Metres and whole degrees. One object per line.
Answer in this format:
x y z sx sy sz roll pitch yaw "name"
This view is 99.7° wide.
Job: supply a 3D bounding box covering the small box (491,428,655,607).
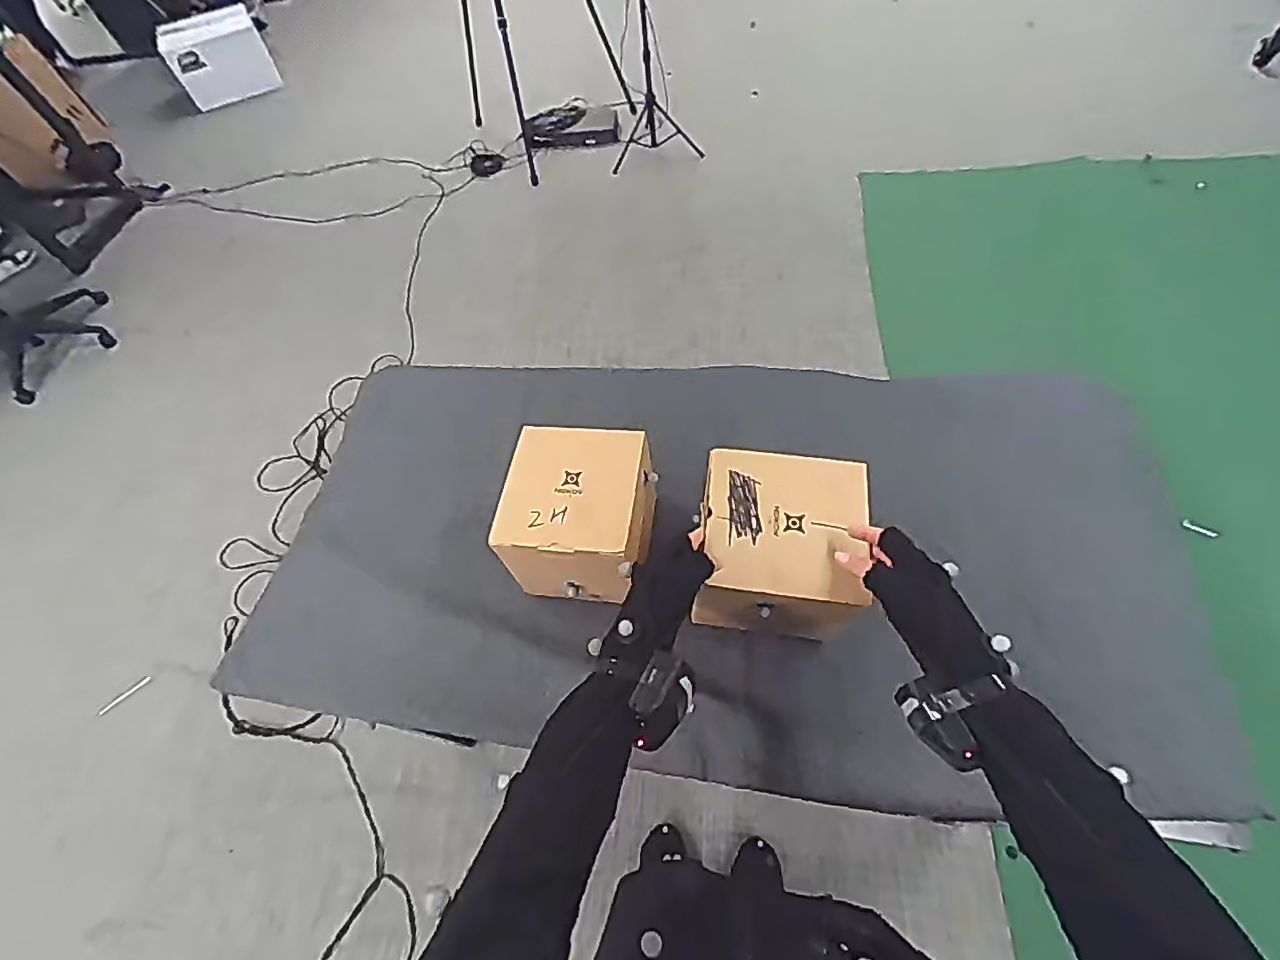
-0.075 0.052 0.728 0.168 0.176 0.179 3 58 10 "small box"
